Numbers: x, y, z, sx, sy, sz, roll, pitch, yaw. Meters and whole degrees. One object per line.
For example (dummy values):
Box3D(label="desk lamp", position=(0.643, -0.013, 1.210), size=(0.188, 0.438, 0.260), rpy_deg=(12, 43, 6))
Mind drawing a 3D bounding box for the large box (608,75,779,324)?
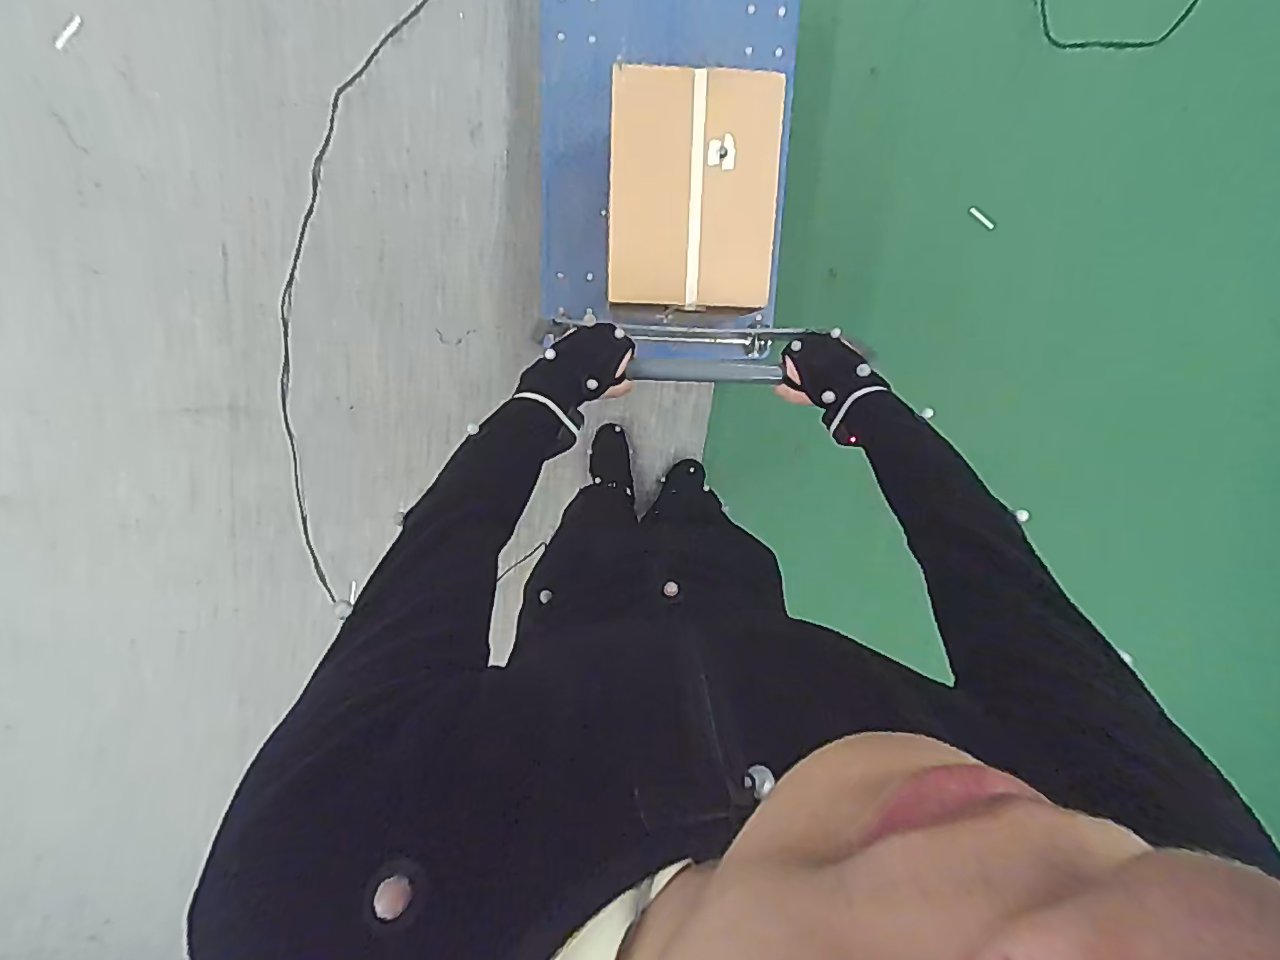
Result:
Box3D(label="large box", position=(0.090, -0.552, 1.151), size=(0.320, 0.320, 0.408), rpy_deg=(0, 101, -4))
